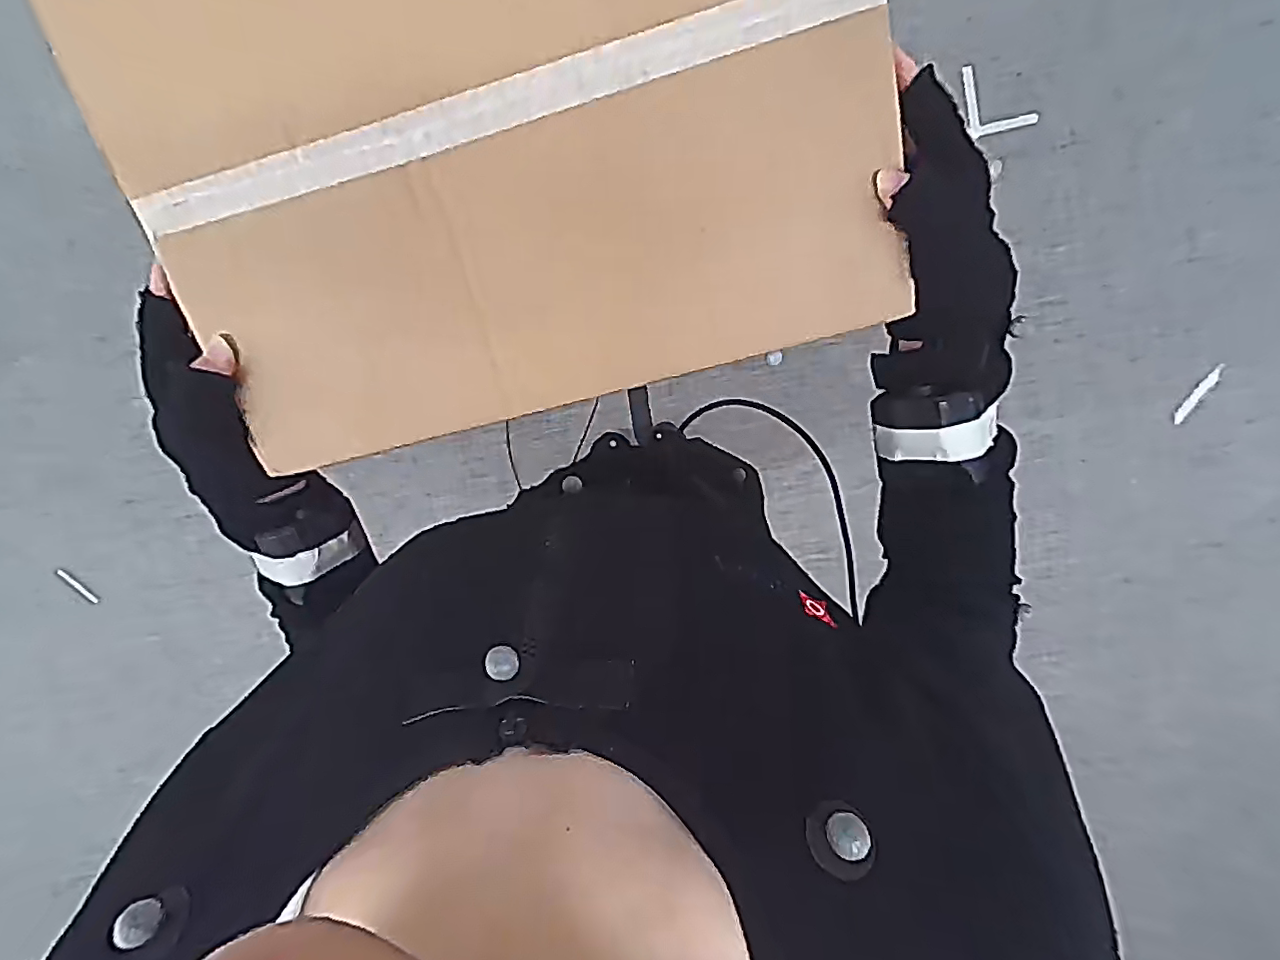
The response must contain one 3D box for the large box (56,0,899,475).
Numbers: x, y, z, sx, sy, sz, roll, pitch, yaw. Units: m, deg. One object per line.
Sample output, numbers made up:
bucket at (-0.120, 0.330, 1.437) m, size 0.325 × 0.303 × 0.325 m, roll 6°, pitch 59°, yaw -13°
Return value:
large box at (-0.073, -0.238, 0.430) m, size 0.408 × 0.320 × 0.320 m, roll -13°, pitch 107°, yaw 7°
